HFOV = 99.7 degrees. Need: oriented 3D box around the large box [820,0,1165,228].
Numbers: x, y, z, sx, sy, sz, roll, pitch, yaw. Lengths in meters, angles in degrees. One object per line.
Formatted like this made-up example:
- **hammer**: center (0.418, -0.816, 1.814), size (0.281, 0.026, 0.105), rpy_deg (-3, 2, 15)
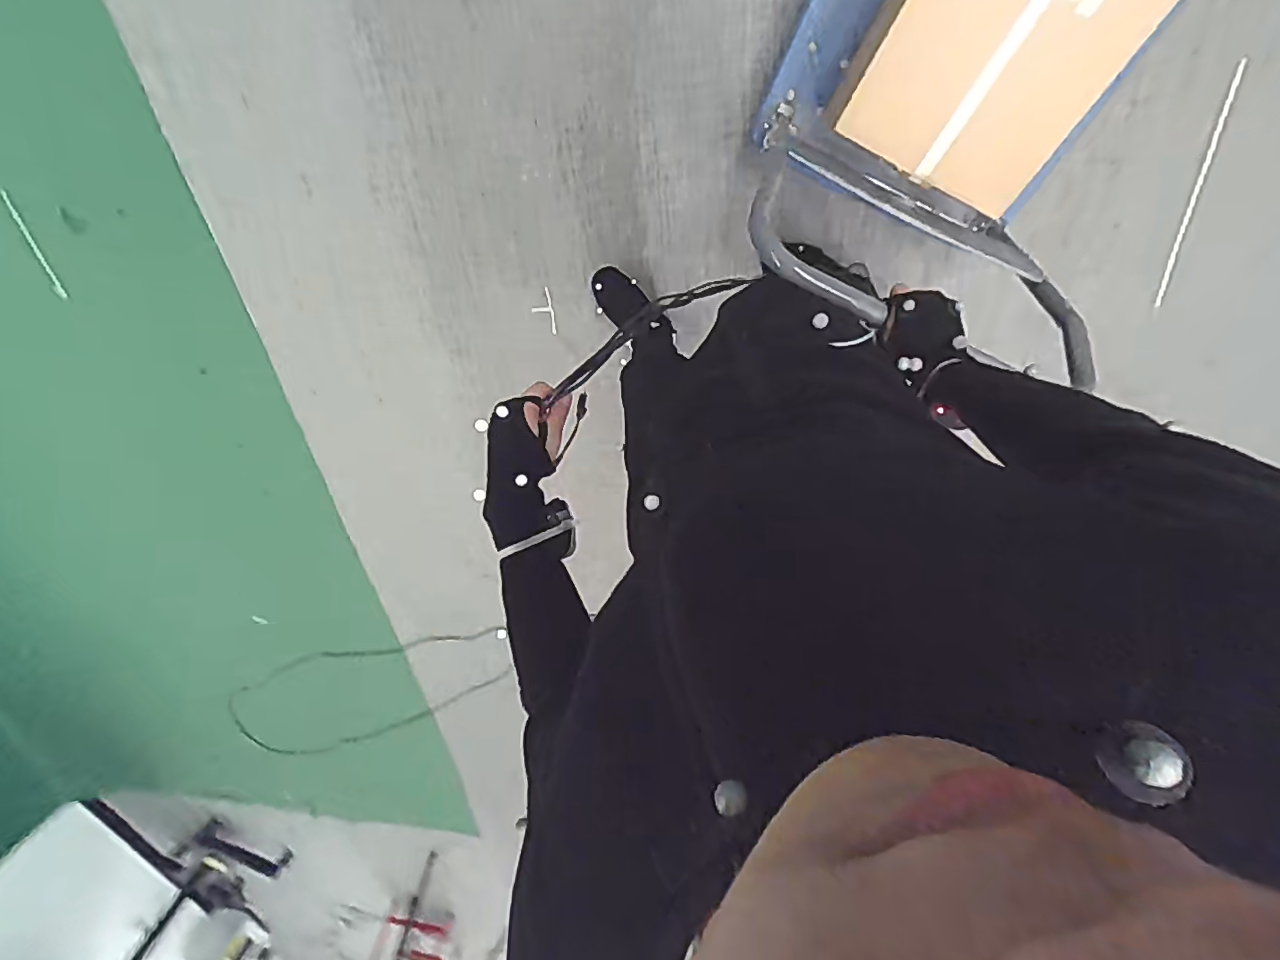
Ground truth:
- **large box**: center (0.545, -0.705, 0.893), size (0.320, 0.320, 0.408), rpy_deg (26, 127, -5)
